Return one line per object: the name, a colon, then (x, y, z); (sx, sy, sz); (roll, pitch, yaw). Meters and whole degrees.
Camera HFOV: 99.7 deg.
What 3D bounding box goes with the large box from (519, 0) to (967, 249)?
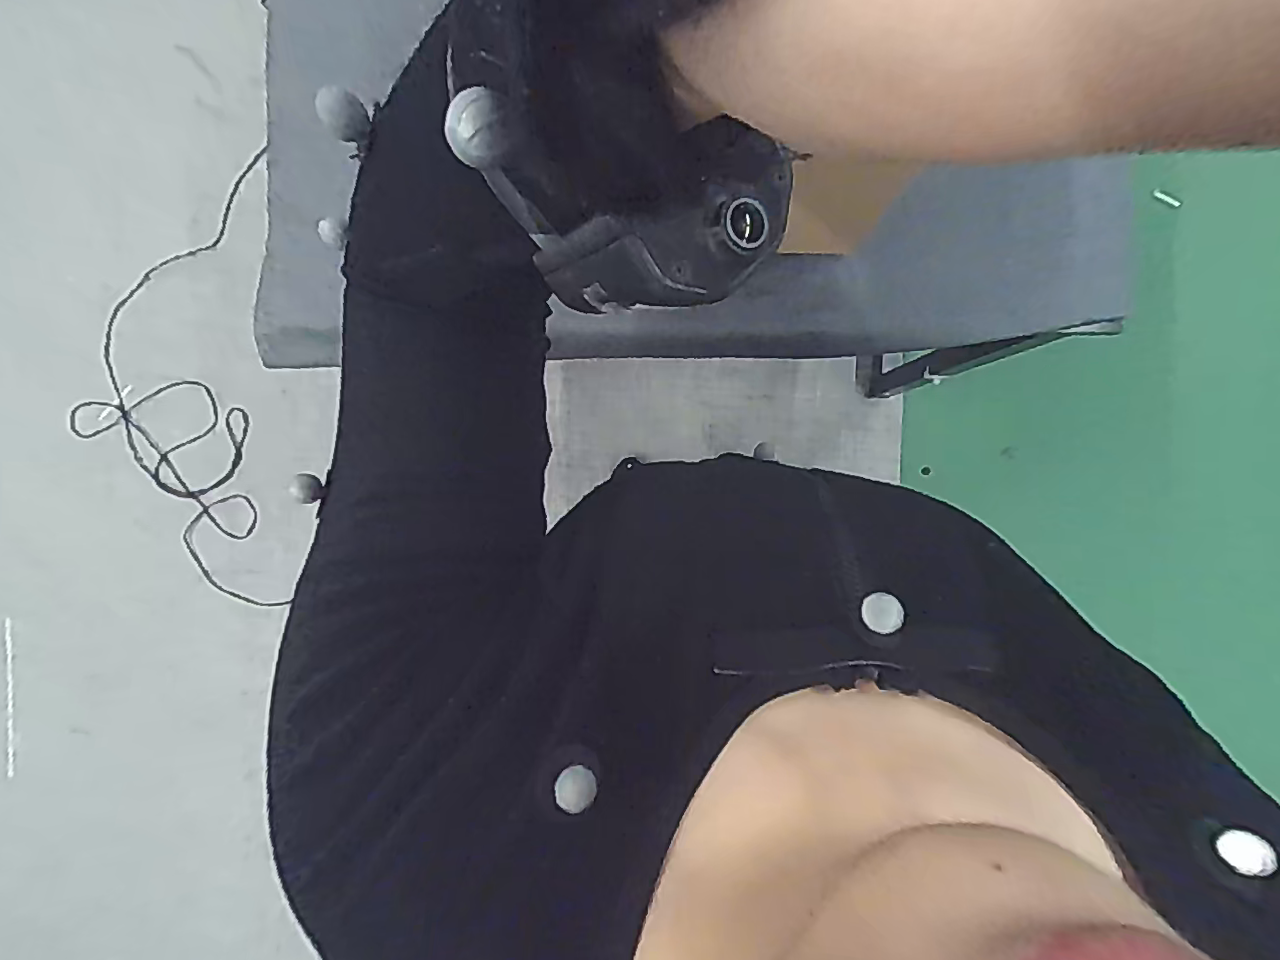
large box: (0.091, -0.485, 0.627); (0.408, 0.320, 0.320); (1, 91, 1)
